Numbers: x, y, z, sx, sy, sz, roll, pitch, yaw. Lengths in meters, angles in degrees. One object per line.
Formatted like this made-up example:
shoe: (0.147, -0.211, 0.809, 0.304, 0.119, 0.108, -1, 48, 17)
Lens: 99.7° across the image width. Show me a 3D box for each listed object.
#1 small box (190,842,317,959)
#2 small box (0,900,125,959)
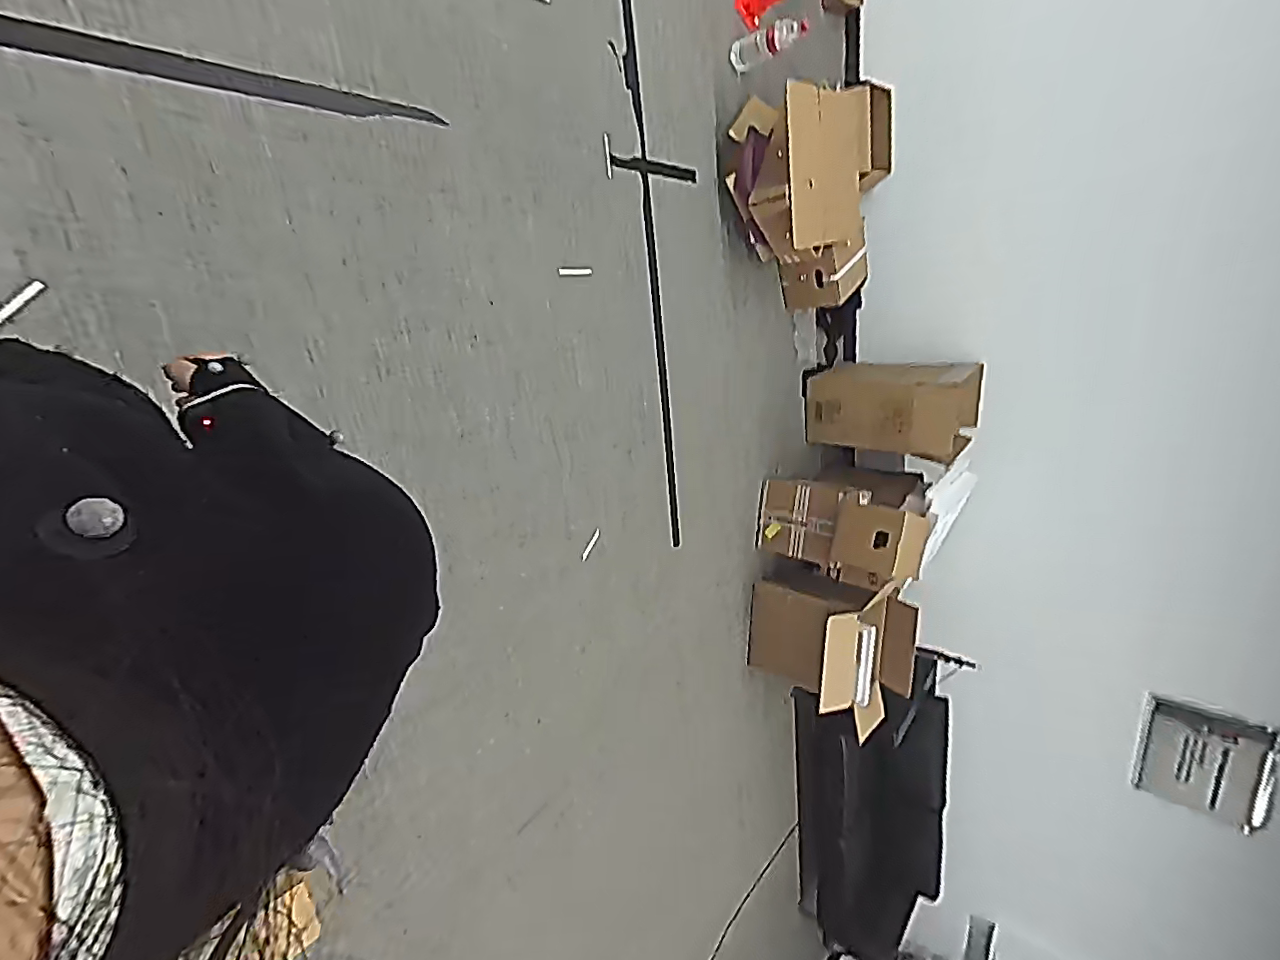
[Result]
small box: (-0.838, 0.945, 1.167, 0.179, 0.176, 0.168, -22, 114, -44)
small box: (-1.156, 1.006, 1.071, 0.179, 0.176, 0.168, -24, 114, -45)
